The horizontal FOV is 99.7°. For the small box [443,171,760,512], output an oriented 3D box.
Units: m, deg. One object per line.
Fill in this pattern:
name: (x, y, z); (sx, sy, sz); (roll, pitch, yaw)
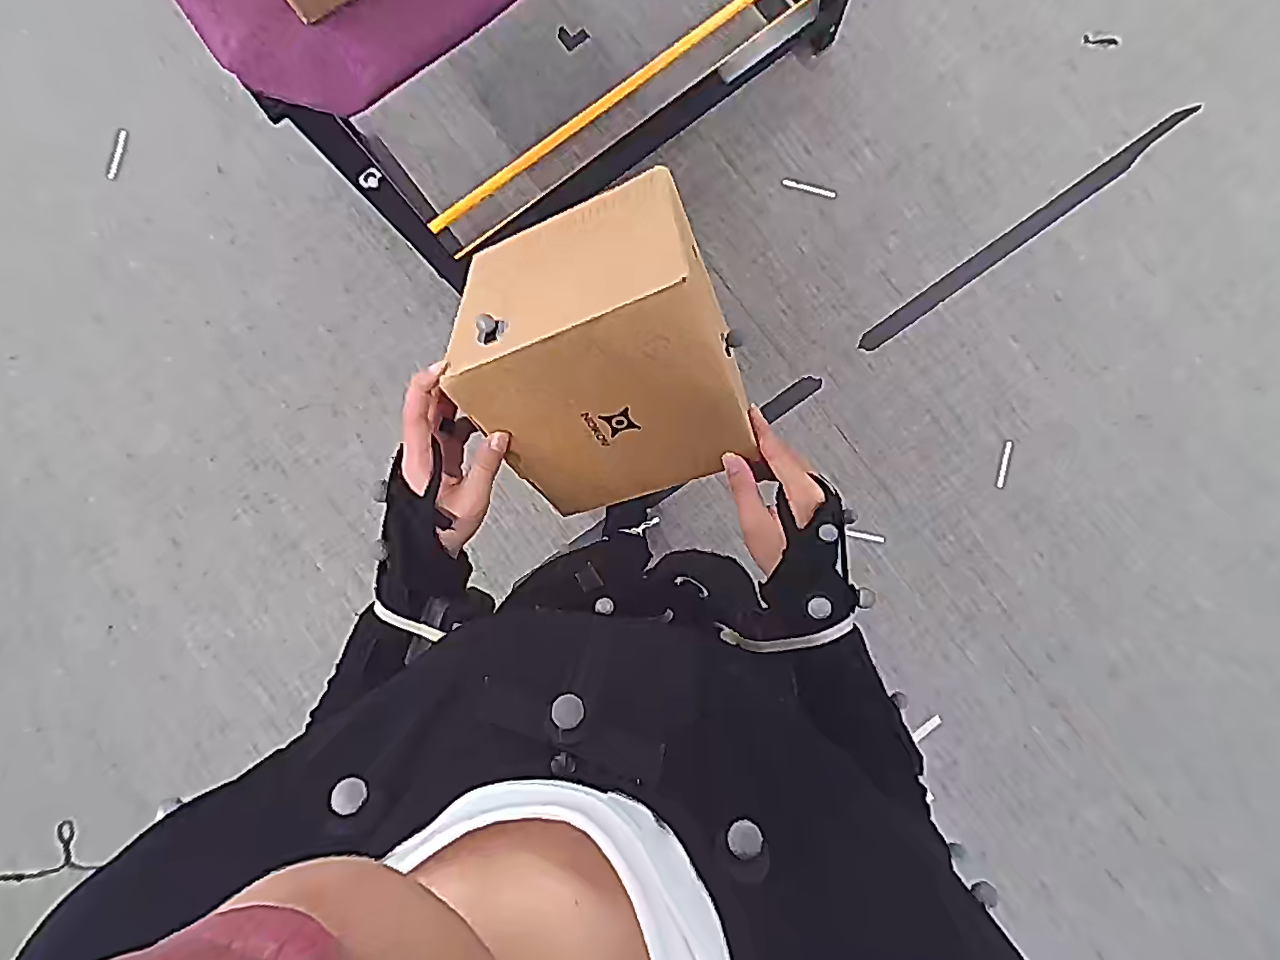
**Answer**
small box: (-0.022, -0.105, 0.428); (0.179, 0.168, 0.176); (-17, 48, 17)
